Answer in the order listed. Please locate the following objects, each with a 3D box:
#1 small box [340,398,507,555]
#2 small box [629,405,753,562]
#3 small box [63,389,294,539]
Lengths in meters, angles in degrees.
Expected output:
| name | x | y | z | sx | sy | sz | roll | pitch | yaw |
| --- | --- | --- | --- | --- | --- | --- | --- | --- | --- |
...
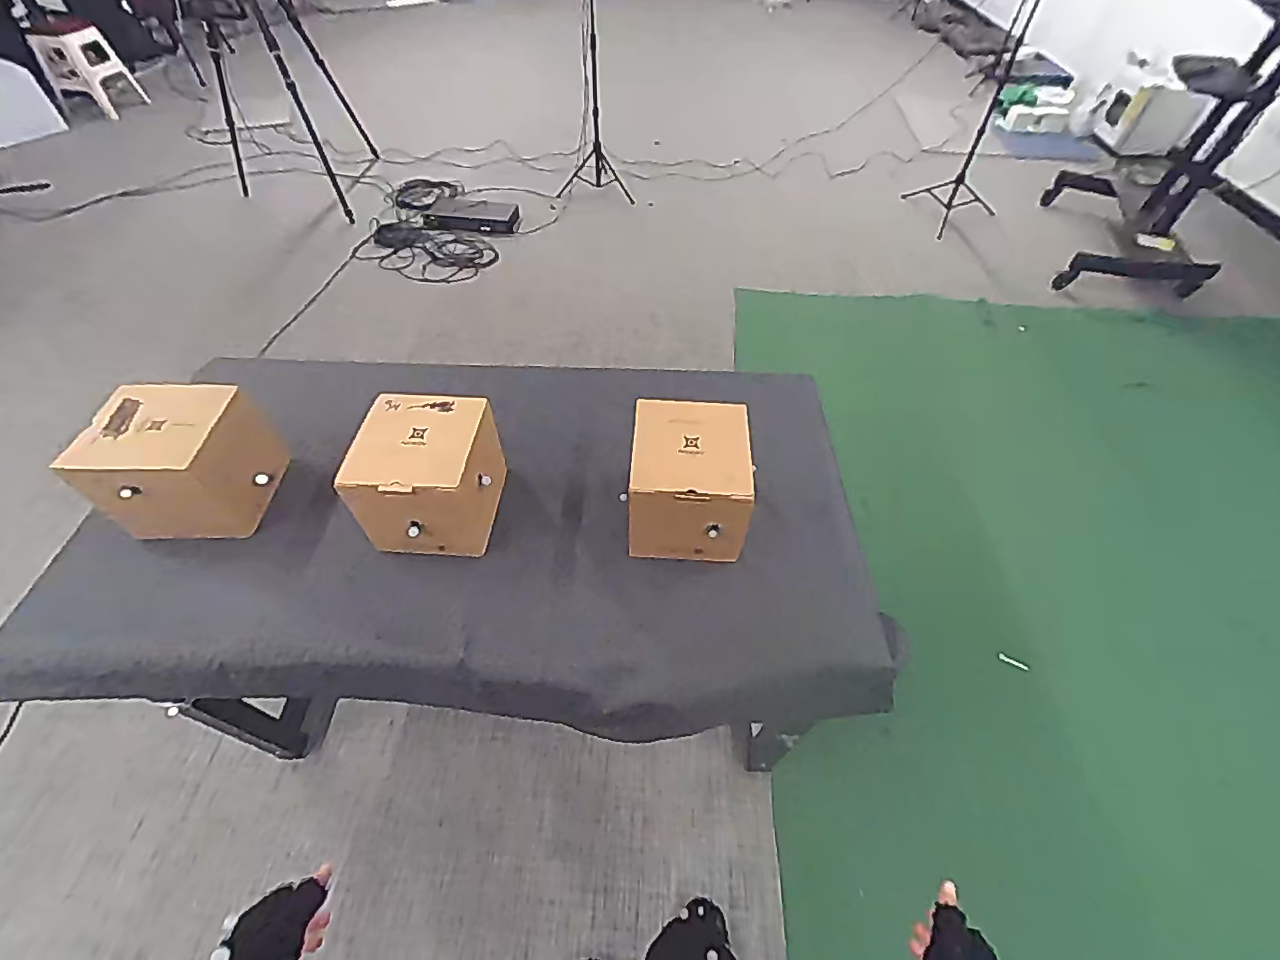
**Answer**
| name | x | y | z | sx | sy | sz | roll | pitch | yaw |
| --- | --- | --- | --- | --- | --- | --- | --- | --- | --- |
| small box | -0.308 | -0.001 | 0.818 | 0.168 | 0.176 | 0.179 | 3 | 51 | 1 |
| small box | 0.071 | 0.008 | 0.820 | 0.168 | 0.176 | 0.179 | 3 | 50 | 0 |
| small box | -0.678 | -0.021 | 0.824 | 0.179 | 0.176 | 0.168 | 0 | 51 | -3 |
